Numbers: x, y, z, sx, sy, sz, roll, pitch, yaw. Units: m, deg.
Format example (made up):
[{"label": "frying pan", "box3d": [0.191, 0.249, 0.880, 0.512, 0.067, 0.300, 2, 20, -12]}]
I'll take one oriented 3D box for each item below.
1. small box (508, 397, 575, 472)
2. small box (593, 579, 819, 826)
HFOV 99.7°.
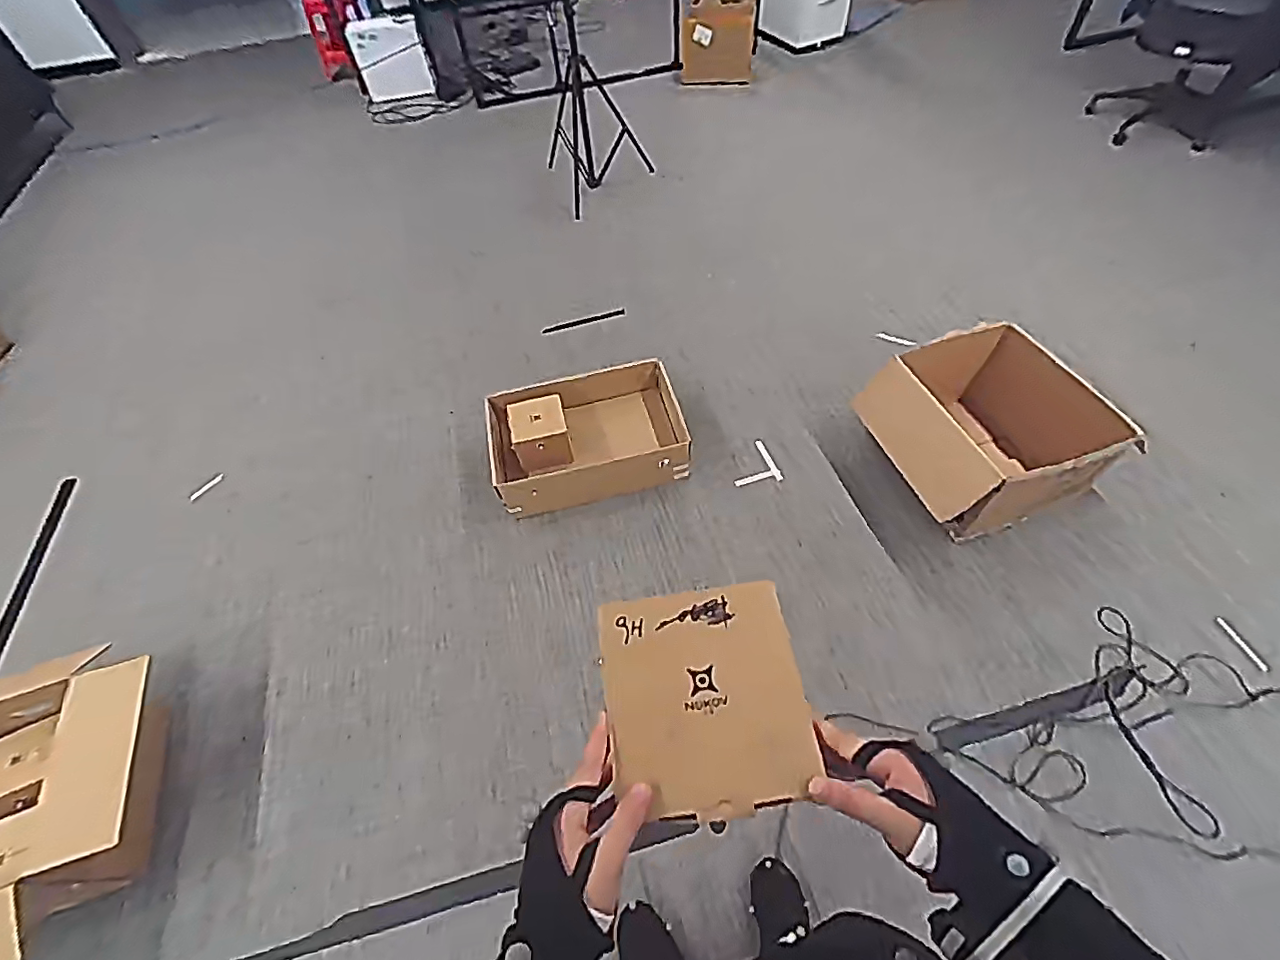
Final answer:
[{"label": "small box", "box3d": [-0.325, -0.146, 1.792, 0.179, 0.176, 0.168, -13, 57, -6]}, {"label": "small box", "box3d": [0.052, 0.215, 0.522, 0.168, 0.176, 0.179, -8, 60, -2]}]
